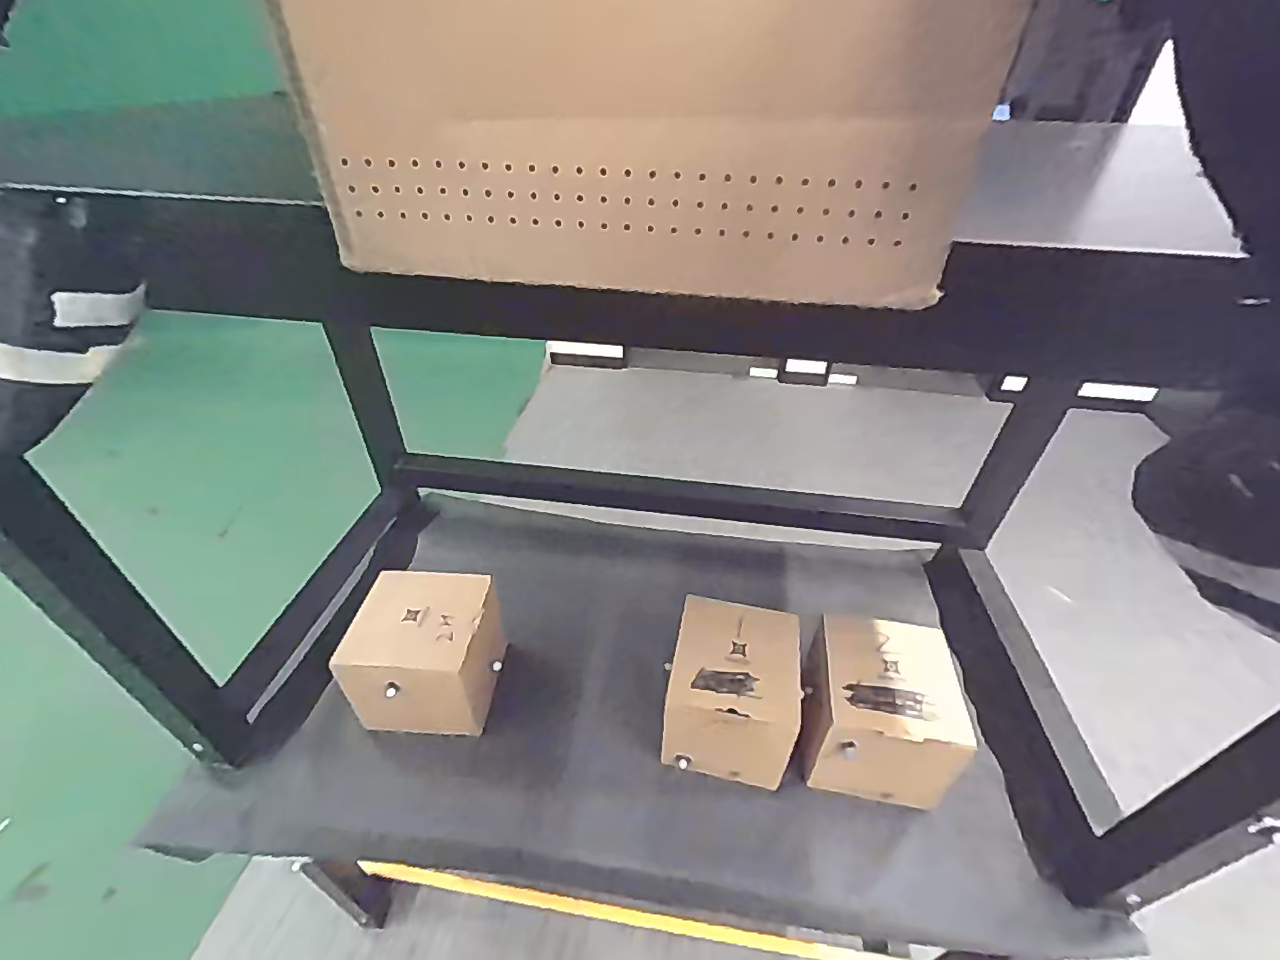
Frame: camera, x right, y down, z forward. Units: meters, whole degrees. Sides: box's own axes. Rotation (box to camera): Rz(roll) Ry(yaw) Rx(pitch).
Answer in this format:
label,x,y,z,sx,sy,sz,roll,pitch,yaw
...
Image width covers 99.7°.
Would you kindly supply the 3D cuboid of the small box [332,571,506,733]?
label,x,y,z,sx,sy,sz,roll,pitch,yaw
small box,-0.314,0.258,0.812,0.179,0.176,0.168,3,38,2
